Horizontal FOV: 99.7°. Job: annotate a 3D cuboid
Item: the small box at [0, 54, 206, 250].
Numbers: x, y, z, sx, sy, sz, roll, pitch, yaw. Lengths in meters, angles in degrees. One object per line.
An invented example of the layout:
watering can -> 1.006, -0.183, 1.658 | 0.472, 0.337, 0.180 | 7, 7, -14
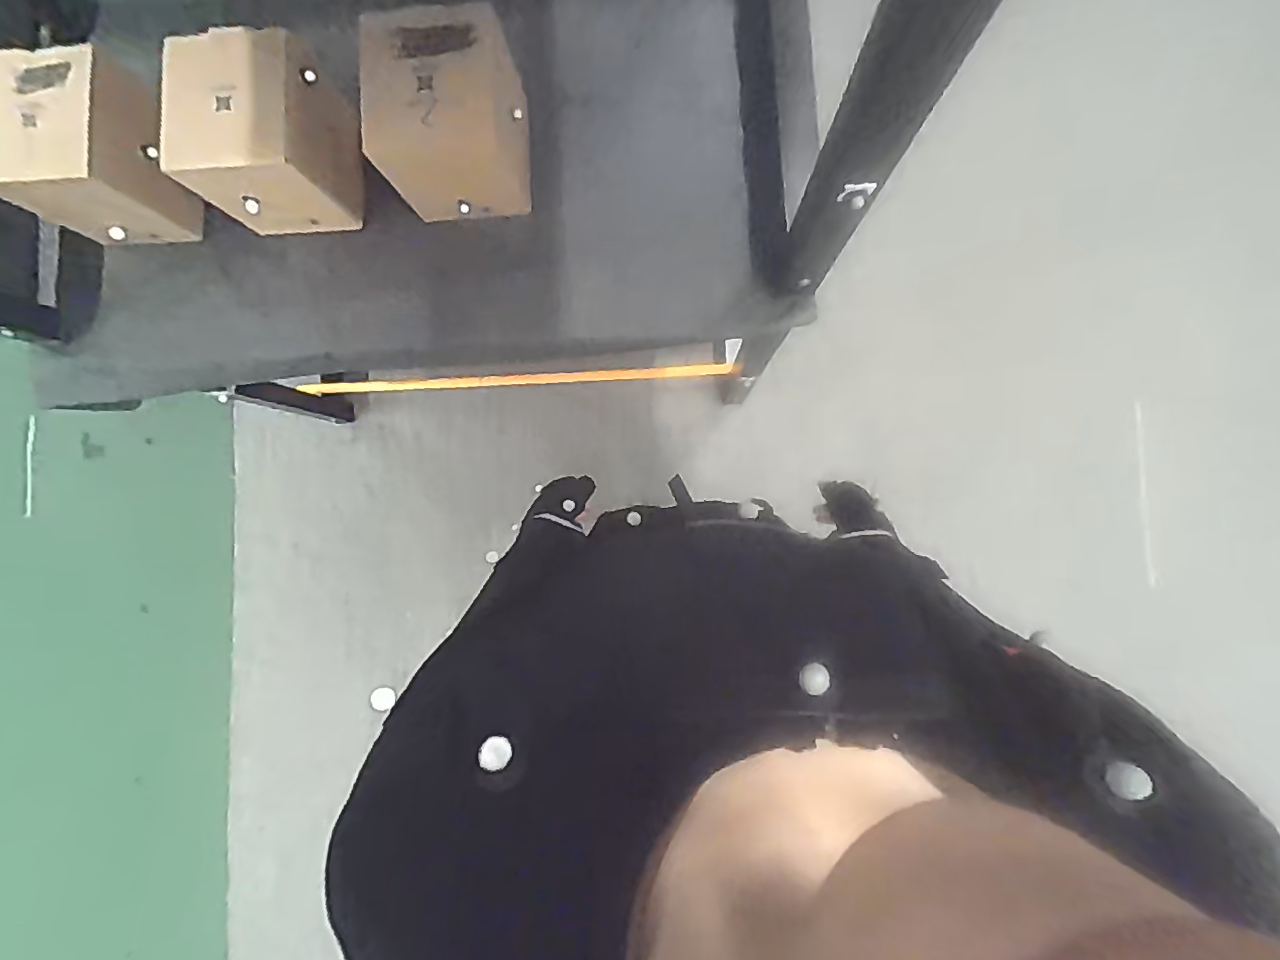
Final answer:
small box -> -0.761, -0.453, 0.769 | 0.168, 0.176, 0.179 | -1, 87, 4

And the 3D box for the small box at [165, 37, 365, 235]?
small box -> -0.508, -0.461, 0.755 | 0.168, 0.176, 0.179 | -1, 87, 4
